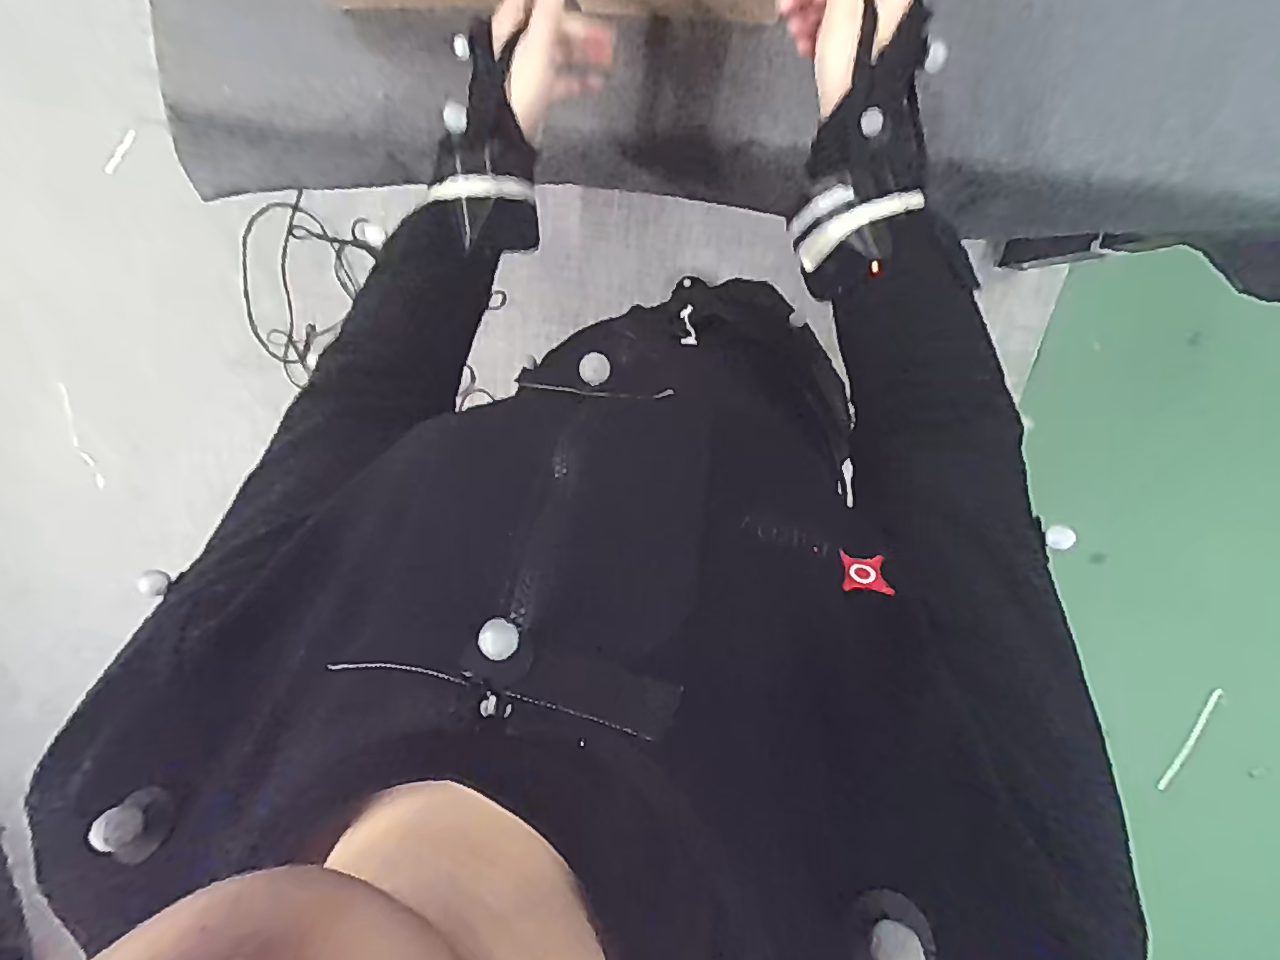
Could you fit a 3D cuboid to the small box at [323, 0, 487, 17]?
[{"bbox_3d":[-0.212,-0.489,0.405,0.179,0.176,0.168,6,106,8],"label":"small box"}]
